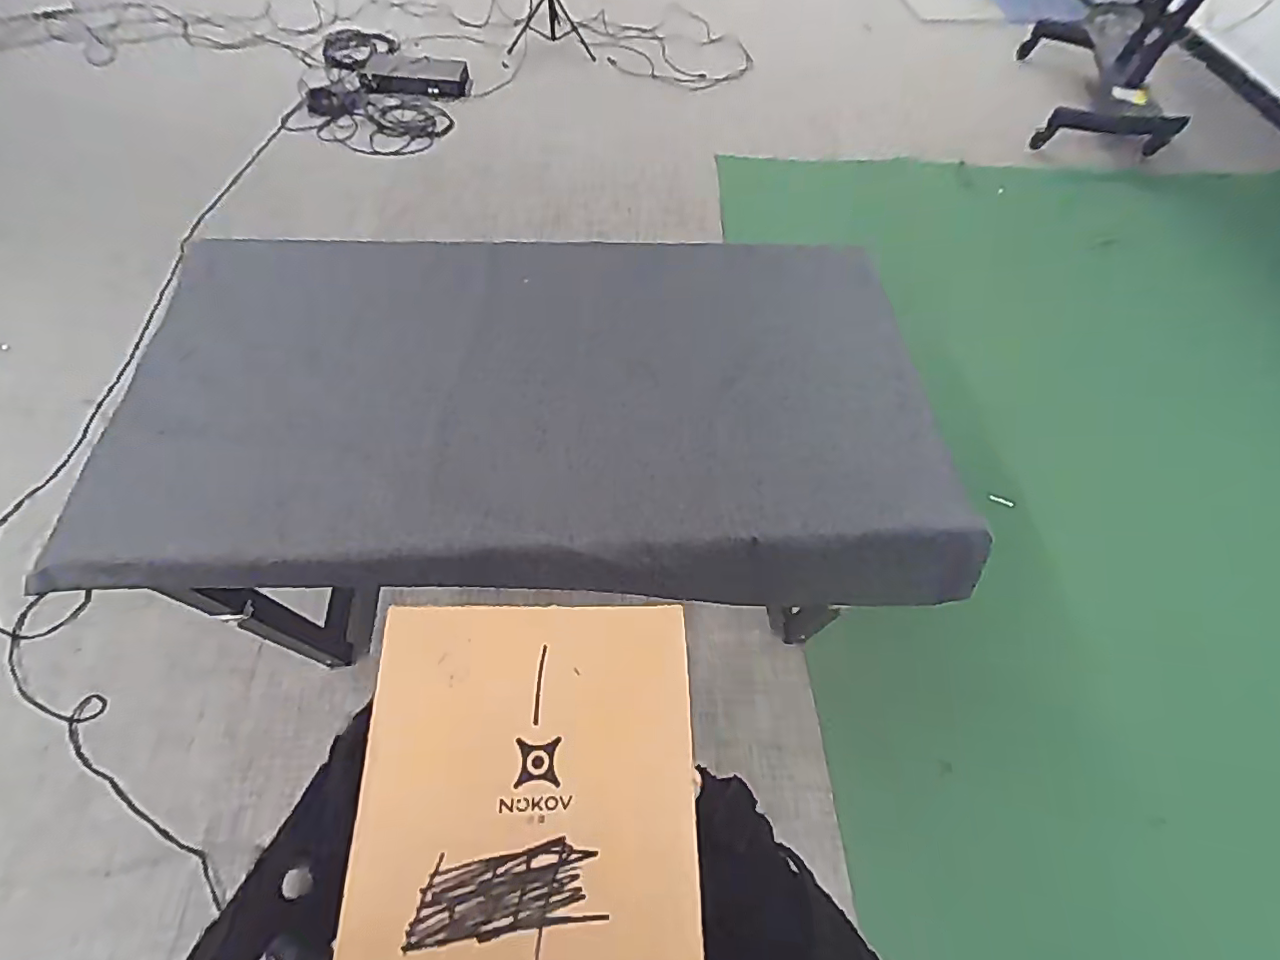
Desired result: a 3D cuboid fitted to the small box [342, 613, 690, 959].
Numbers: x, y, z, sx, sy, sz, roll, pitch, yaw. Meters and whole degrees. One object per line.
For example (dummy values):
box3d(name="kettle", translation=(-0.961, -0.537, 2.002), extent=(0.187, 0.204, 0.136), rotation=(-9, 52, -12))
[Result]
box3d(name="small box", translation=(-0.068, 0.189, 0.355), extent=(0.168, 0.176, 0.179), rotation=(3, 67, -9))
